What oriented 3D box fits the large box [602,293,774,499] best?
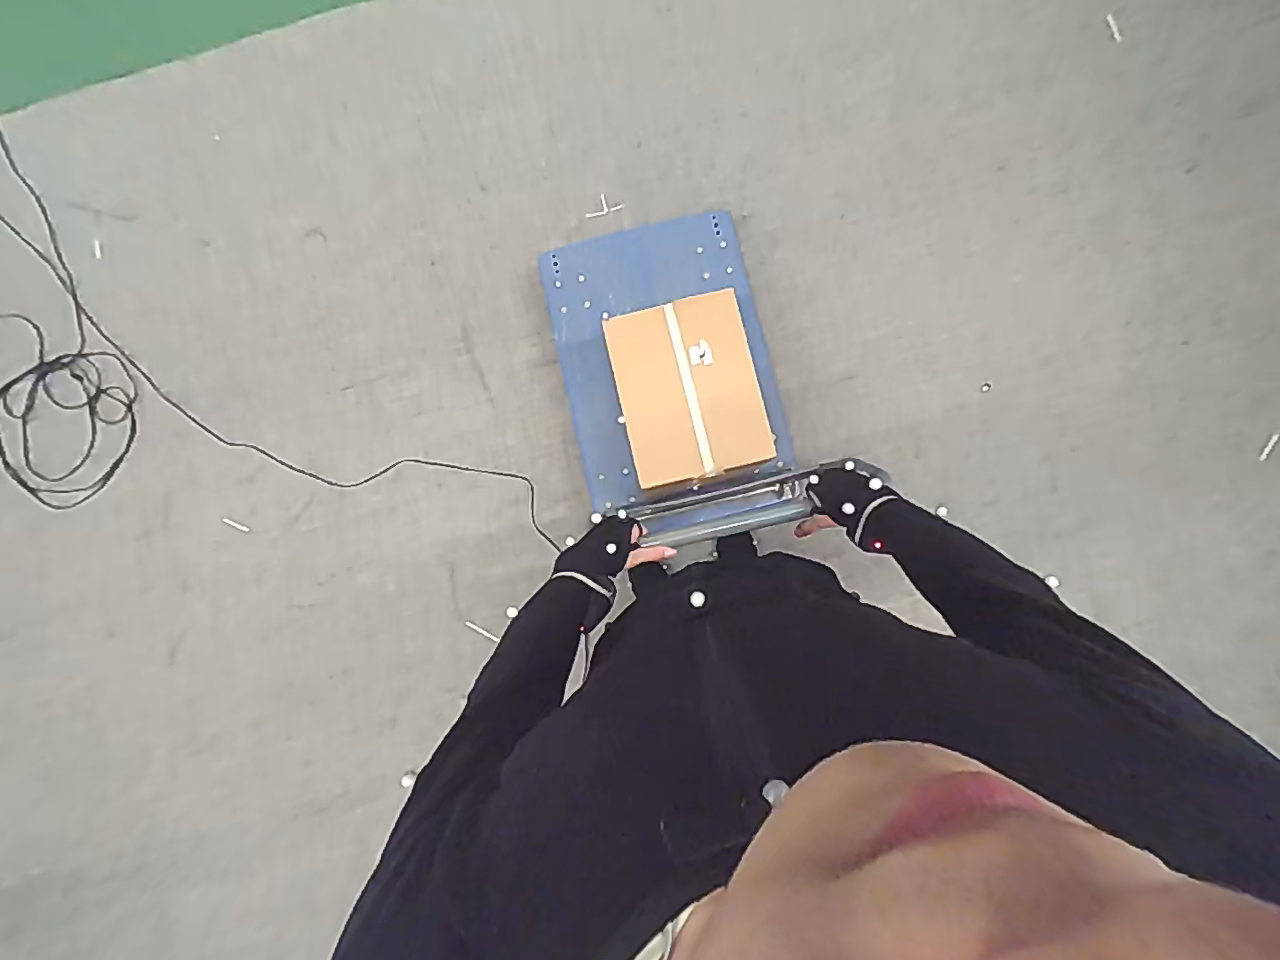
[{"bbox_3d":[0.114,-0.189,1.375,0.320,0.320,0.408,-13,83,1],"label":"large box"}]
